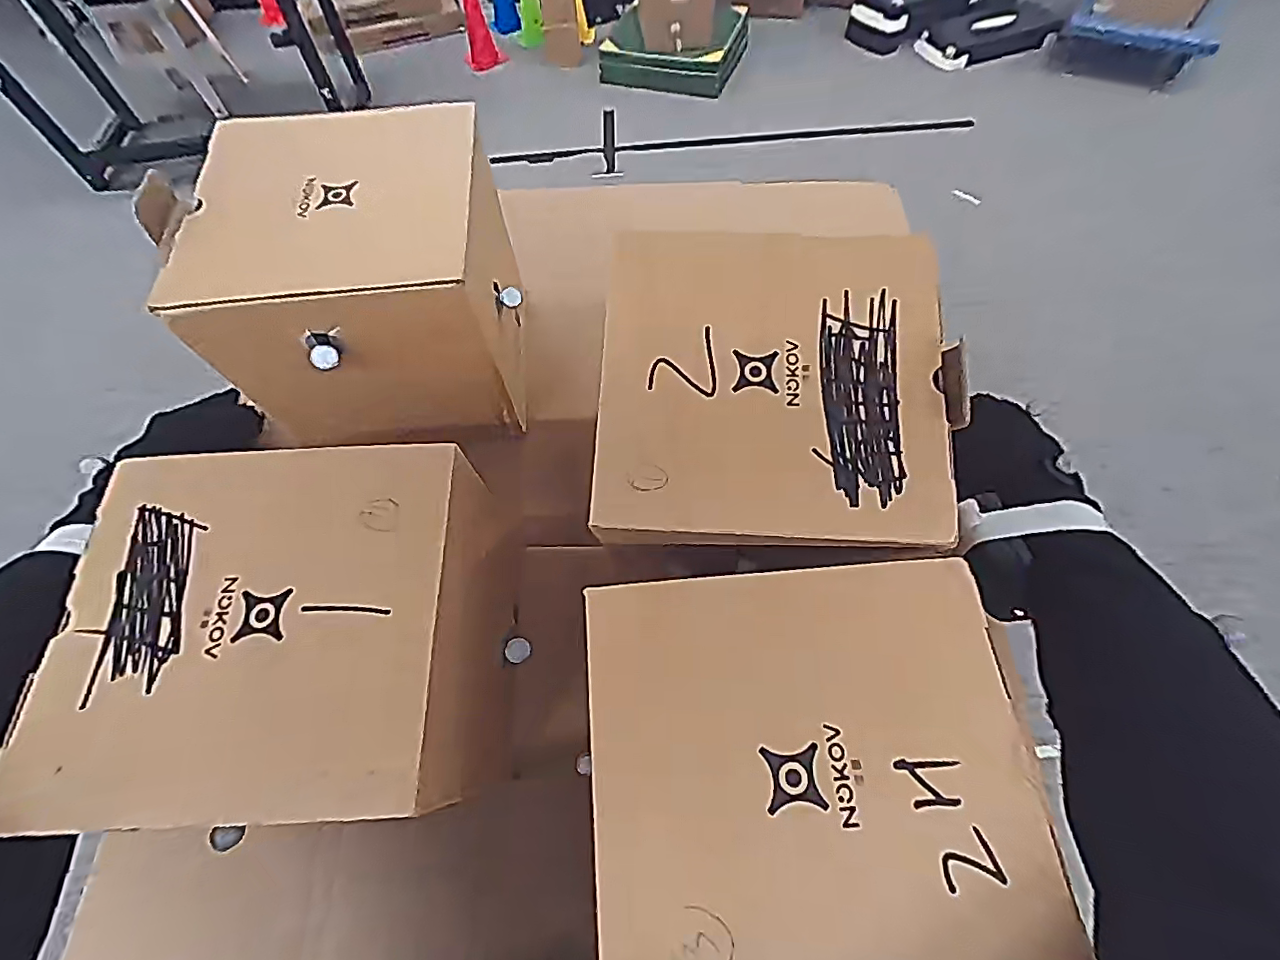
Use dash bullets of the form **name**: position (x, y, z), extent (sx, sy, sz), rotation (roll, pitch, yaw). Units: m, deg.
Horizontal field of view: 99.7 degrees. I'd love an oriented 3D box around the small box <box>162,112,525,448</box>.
- **small box**: position (-0.189, -0.139, 0.412), extent (0.179, 0.176, 0.168), rotation (-6, 64, 0)
